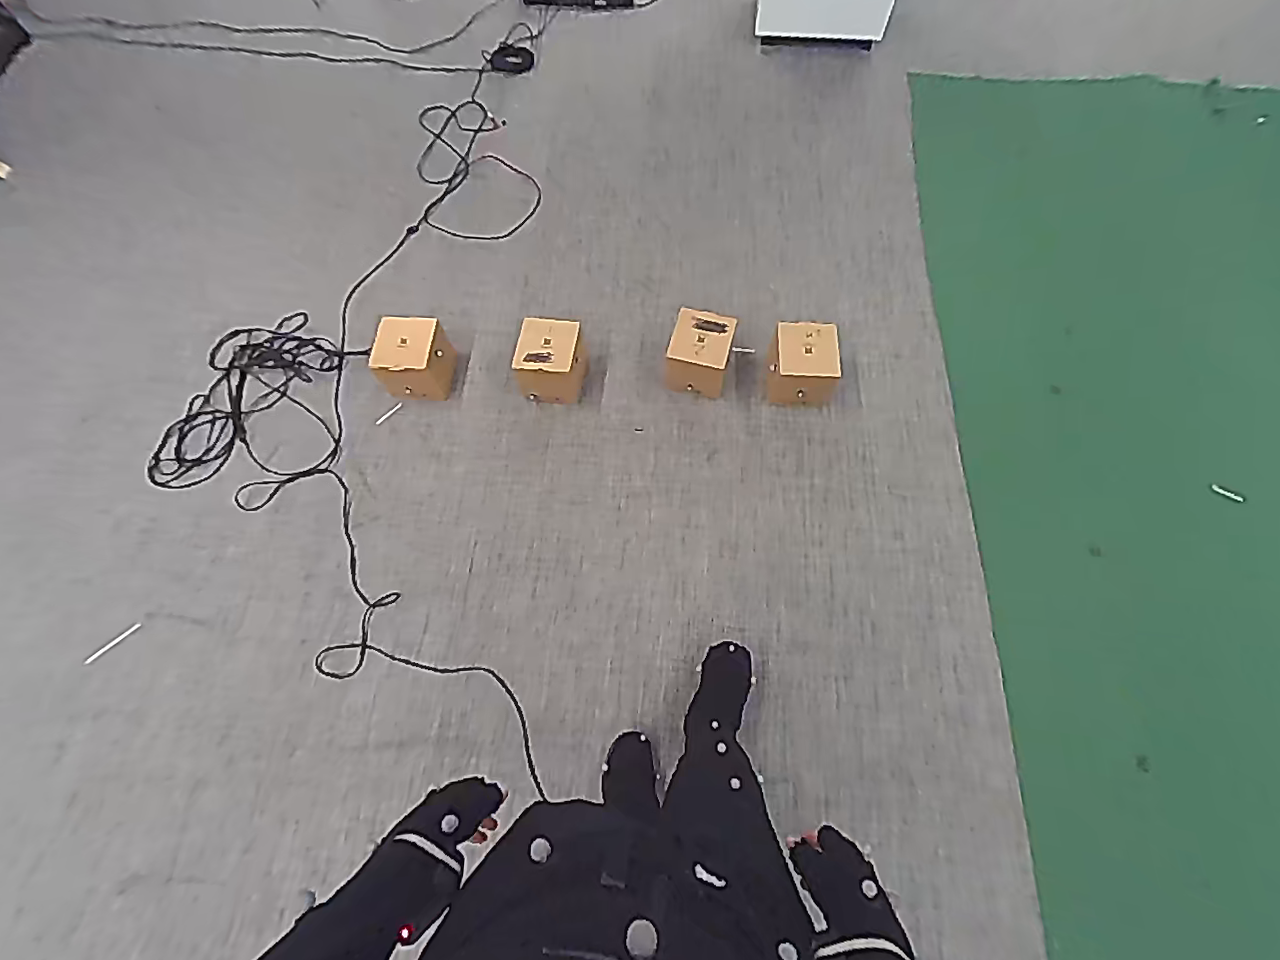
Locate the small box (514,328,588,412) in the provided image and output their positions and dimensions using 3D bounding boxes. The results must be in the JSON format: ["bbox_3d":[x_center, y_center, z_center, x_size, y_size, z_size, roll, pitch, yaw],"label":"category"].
[{"bbox_3d":[-0.252,-0.317,1.587,0.168,0.176,0.179,6,67,5],"label":"small box"}]

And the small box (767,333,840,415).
[{"bbox_3d":[0.465,-0.301,1.561,0.168,0.176,0.179,3,67,2],"label":"small box"}]

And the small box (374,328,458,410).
[{"bbox_3d":[-0.655,-0.327,1.606,0.168,0.176,0.179,2,67,3],"label":"small box"}]
